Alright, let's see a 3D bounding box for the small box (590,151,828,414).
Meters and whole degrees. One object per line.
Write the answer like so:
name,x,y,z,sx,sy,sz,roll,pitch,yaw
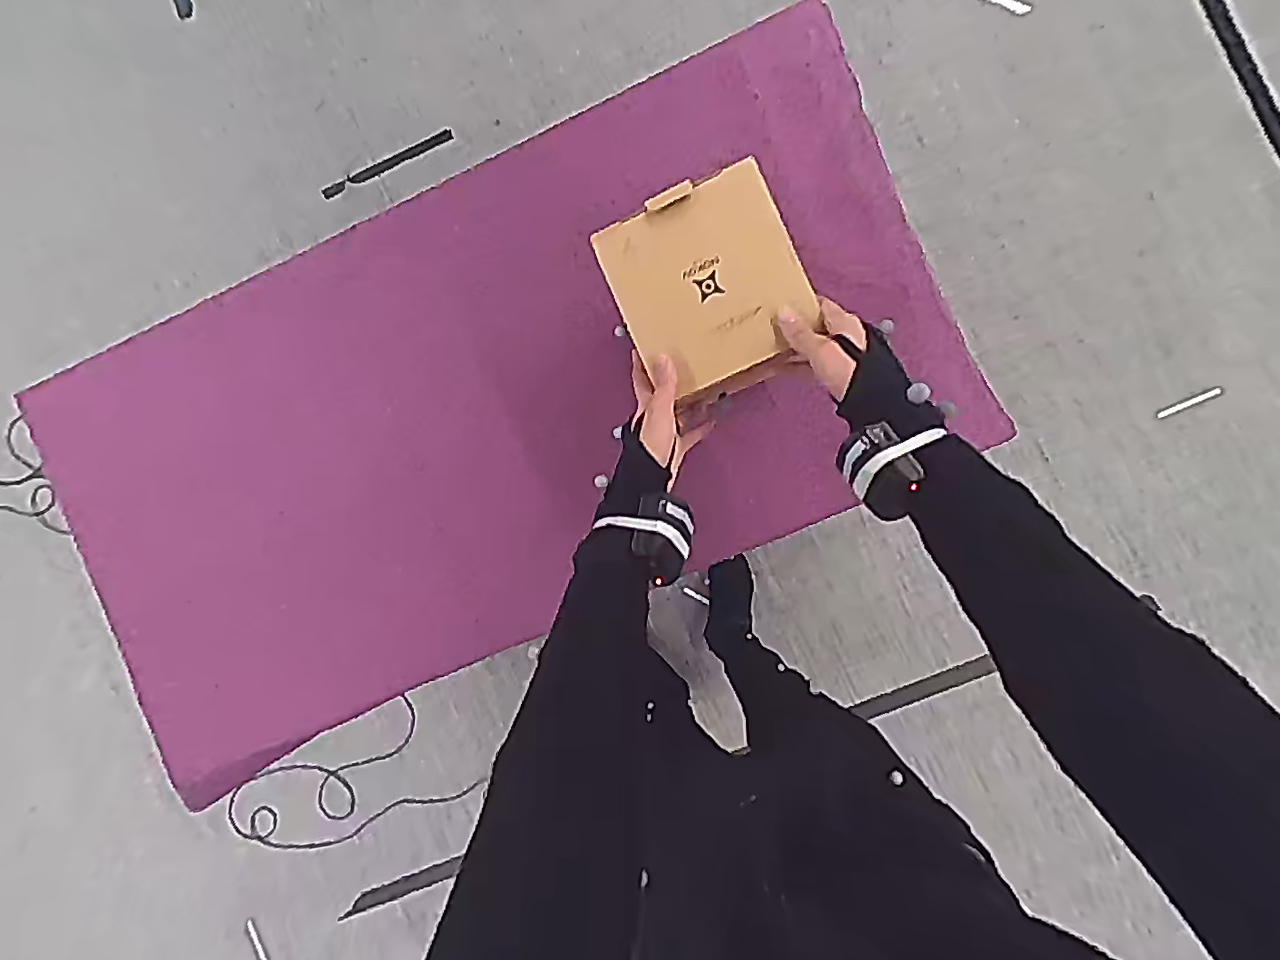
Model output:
small box,0.067,-0.182,0.559,0.168,0.176,0.179,-23,89,7
